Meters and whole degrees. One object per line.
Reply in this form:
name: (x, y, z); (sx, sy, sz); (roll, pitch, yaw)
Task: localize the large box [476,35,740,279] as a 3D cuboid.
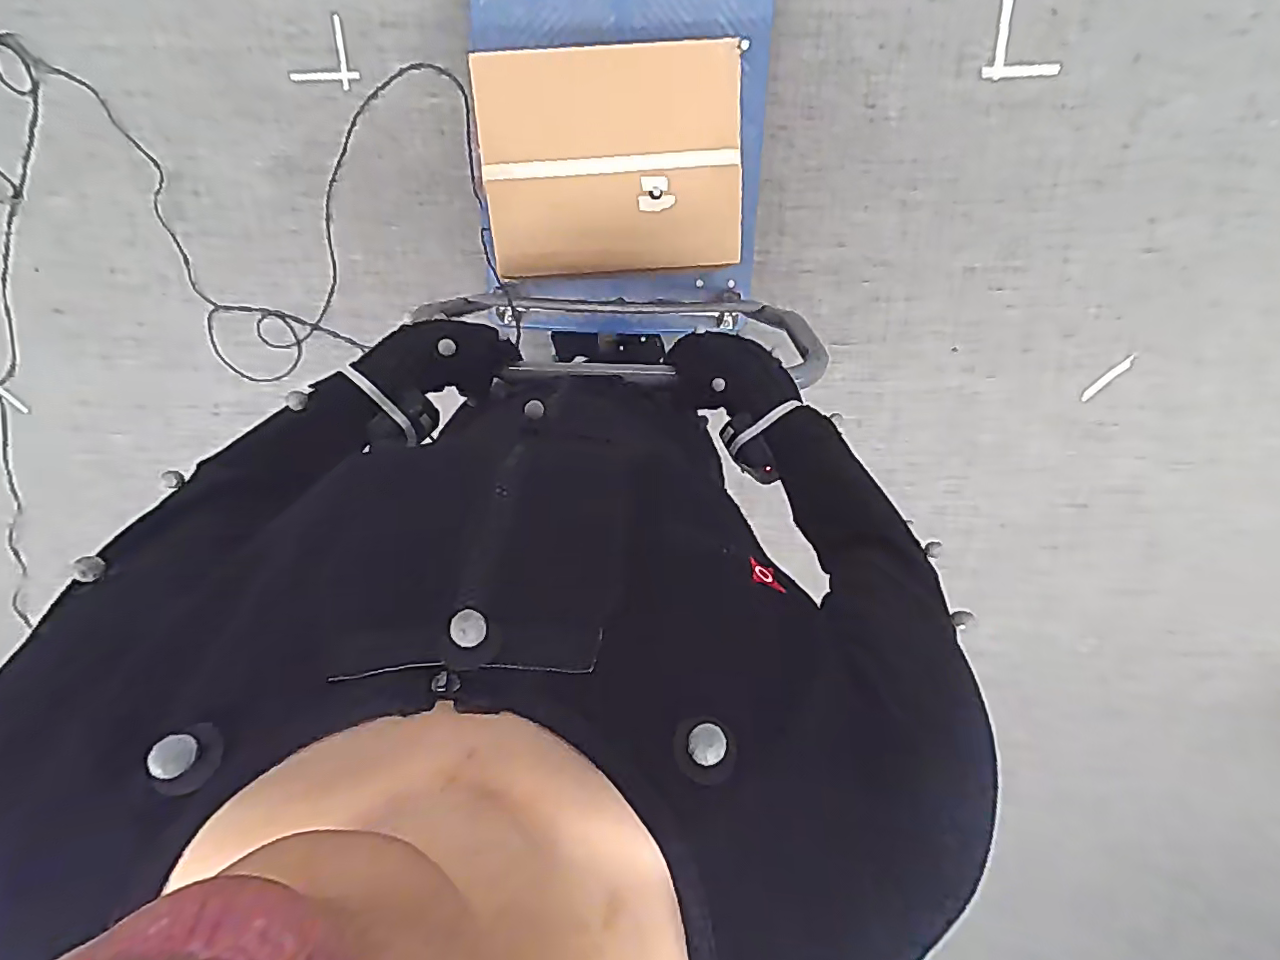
large box: (-0.046, -0.556, 1.001); (0.408, 0.320, 0.320); (-4, 109, -1)
